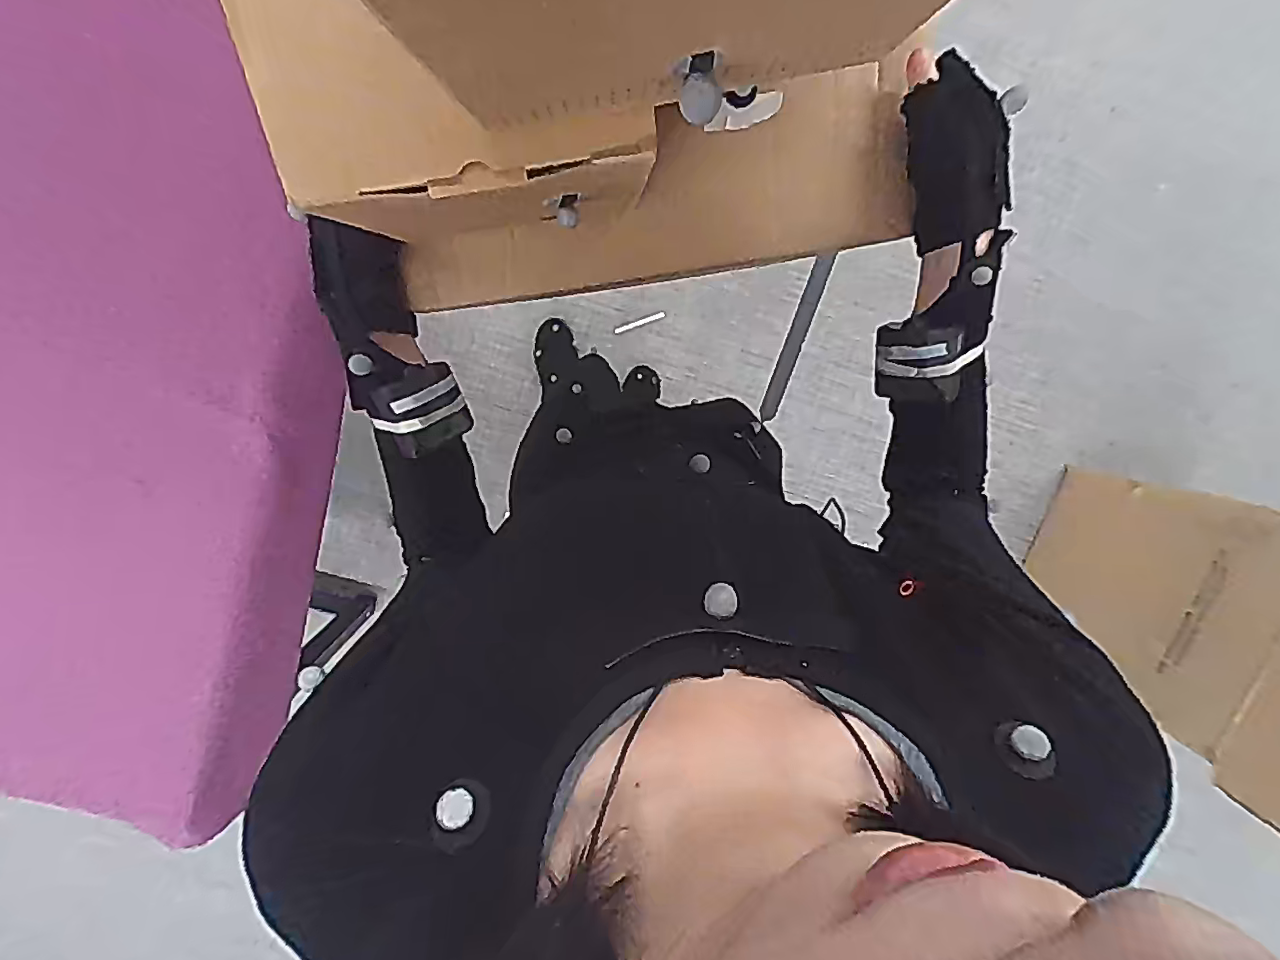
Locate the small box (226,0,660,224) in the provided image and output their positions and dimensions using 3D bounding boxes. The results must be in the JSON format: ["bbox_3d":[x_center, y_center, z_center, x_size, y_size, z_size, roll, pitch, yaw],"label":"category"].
[{"bbox_3d":[-0.088,-0.241,0.279,0.168,0.176,0.179,-10,108,-2],"label":"small box"}]

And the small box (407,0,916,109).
[{"bbox_3d":[0.011,-0.212,0.120,0.179,0.176,0.168,-10,110,1],"label":"small box"}]

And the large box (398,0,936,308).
[{"bbox_3d":[-0.008,-0.355,0.501,0.408,0.320,0.320,-10,111,-1],"label":"large box"}]
